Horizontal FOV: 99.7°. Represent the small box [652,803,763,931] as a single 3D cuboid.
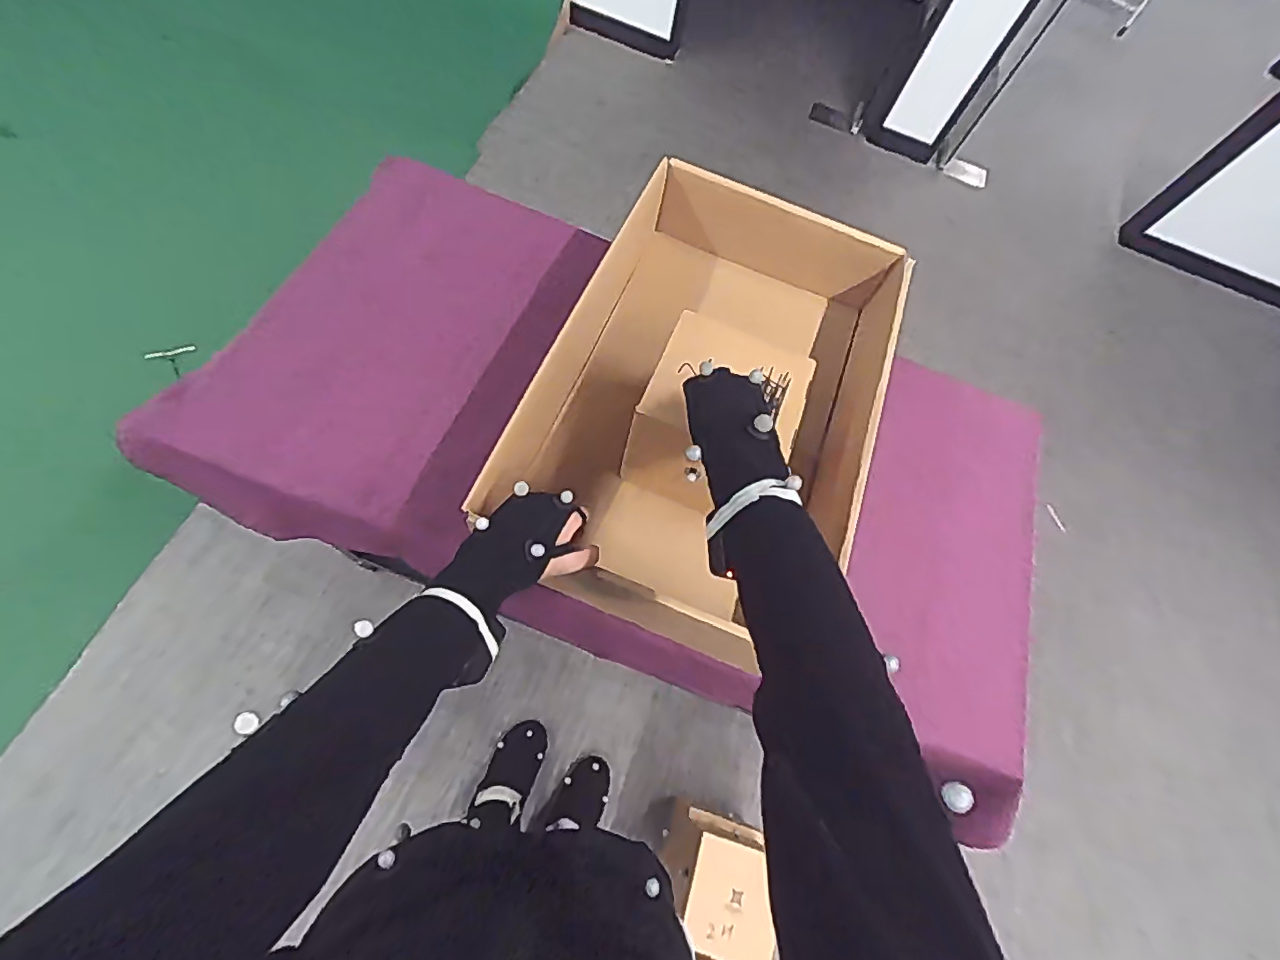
[{"bbox_3d":[0.141,0.825,1.173,0.179,0.176,0.168,21,65,1],"label":"small box"}]
